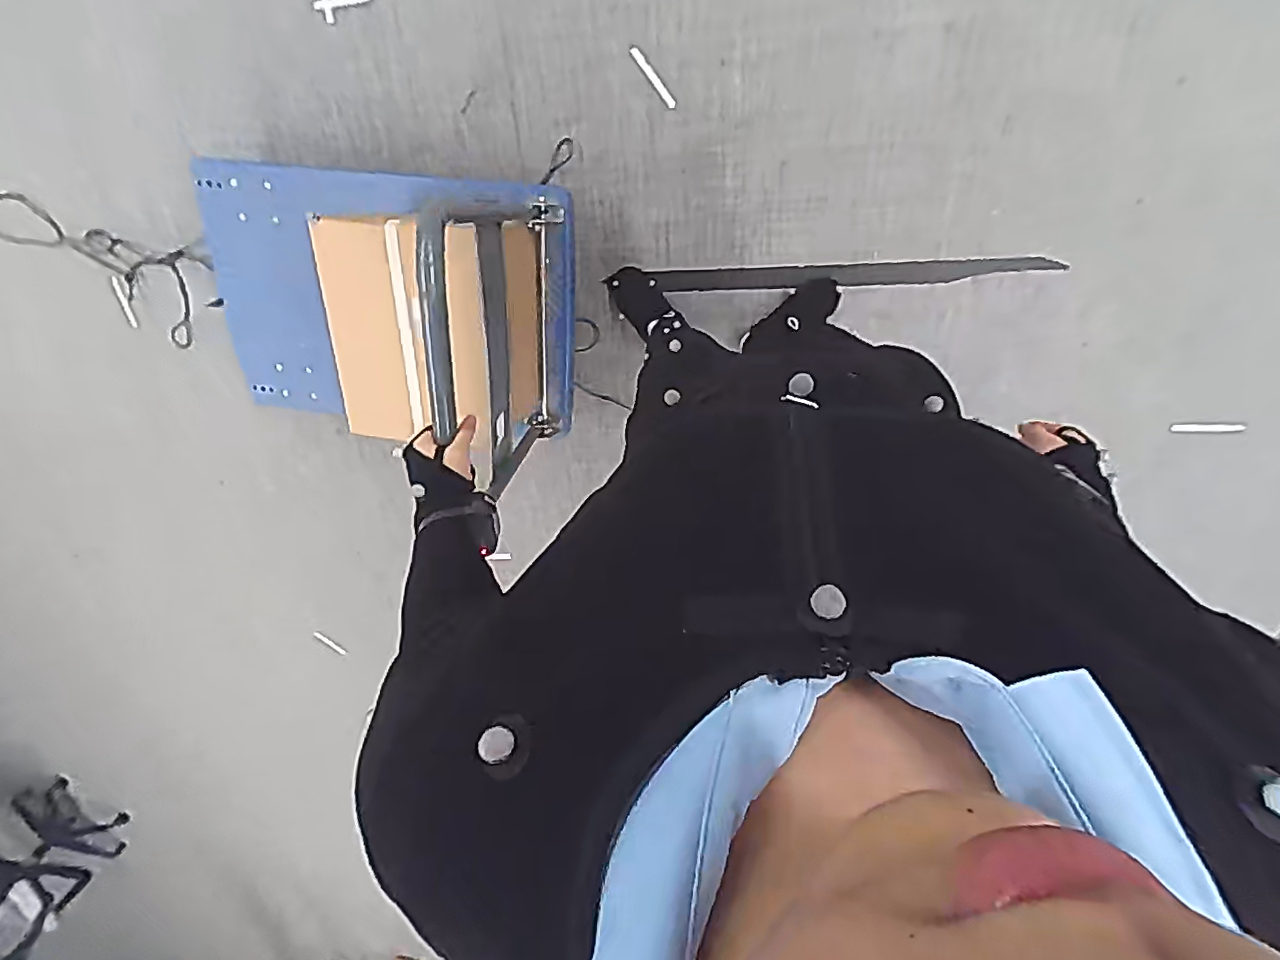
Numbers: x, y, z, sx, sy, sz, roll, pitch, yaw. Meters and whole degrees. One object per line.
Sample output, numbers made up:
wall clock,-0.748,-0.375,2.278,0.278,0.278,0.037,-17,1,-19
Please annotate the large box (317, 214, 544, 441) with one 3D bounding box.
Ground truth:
large box,-0.401,-0.331,1.147,0.320,0.320,0.408,6,117,5
